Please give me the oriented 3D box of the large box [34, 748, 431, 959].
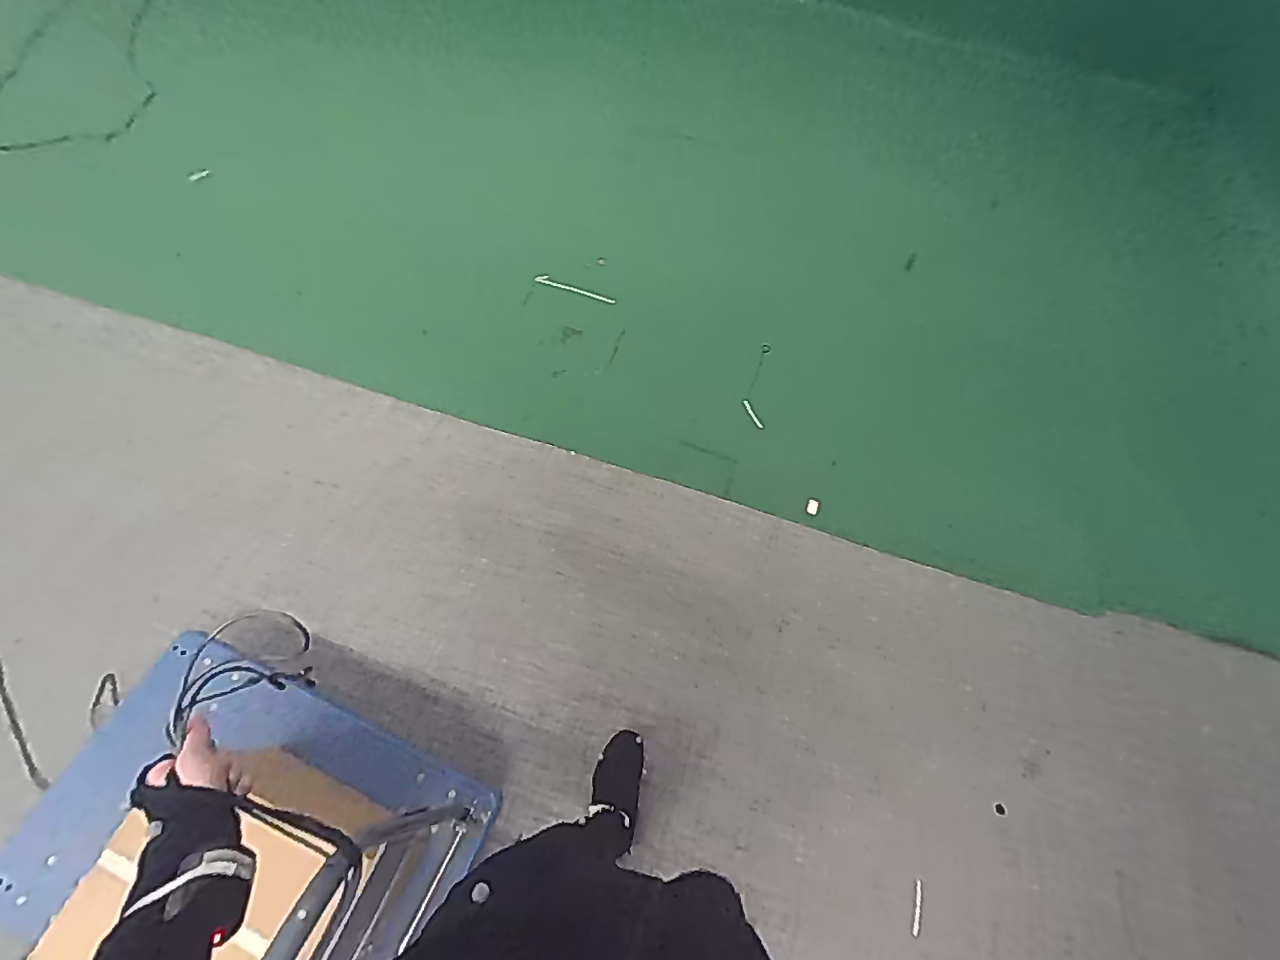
[{"bbox_3d":[-0.668,0.726,0.971,0.408,0.320,0.320,23,66,8],"label":"large box"}]
